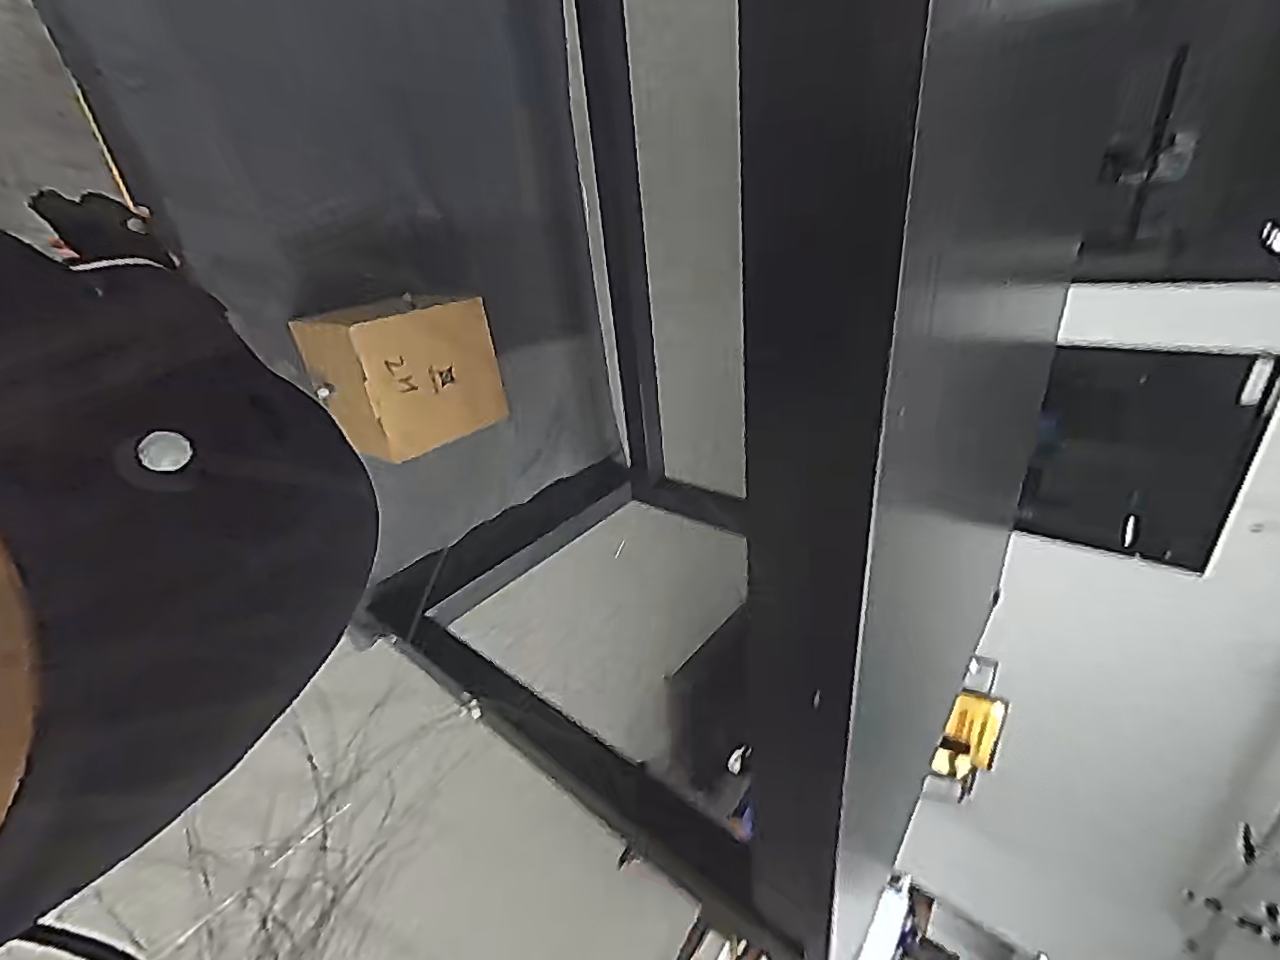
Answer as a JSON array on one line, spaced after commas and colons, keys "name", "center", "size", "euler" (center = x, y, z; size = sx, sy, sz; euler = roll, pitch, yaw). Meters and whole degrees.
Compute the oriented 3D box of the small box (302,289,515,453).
[{"name": "small box", "center": [-0.298, -0.154, 0.710], "size": [0.179, 0.176, 0.168], "euler": [-33, 126, -42]}]
